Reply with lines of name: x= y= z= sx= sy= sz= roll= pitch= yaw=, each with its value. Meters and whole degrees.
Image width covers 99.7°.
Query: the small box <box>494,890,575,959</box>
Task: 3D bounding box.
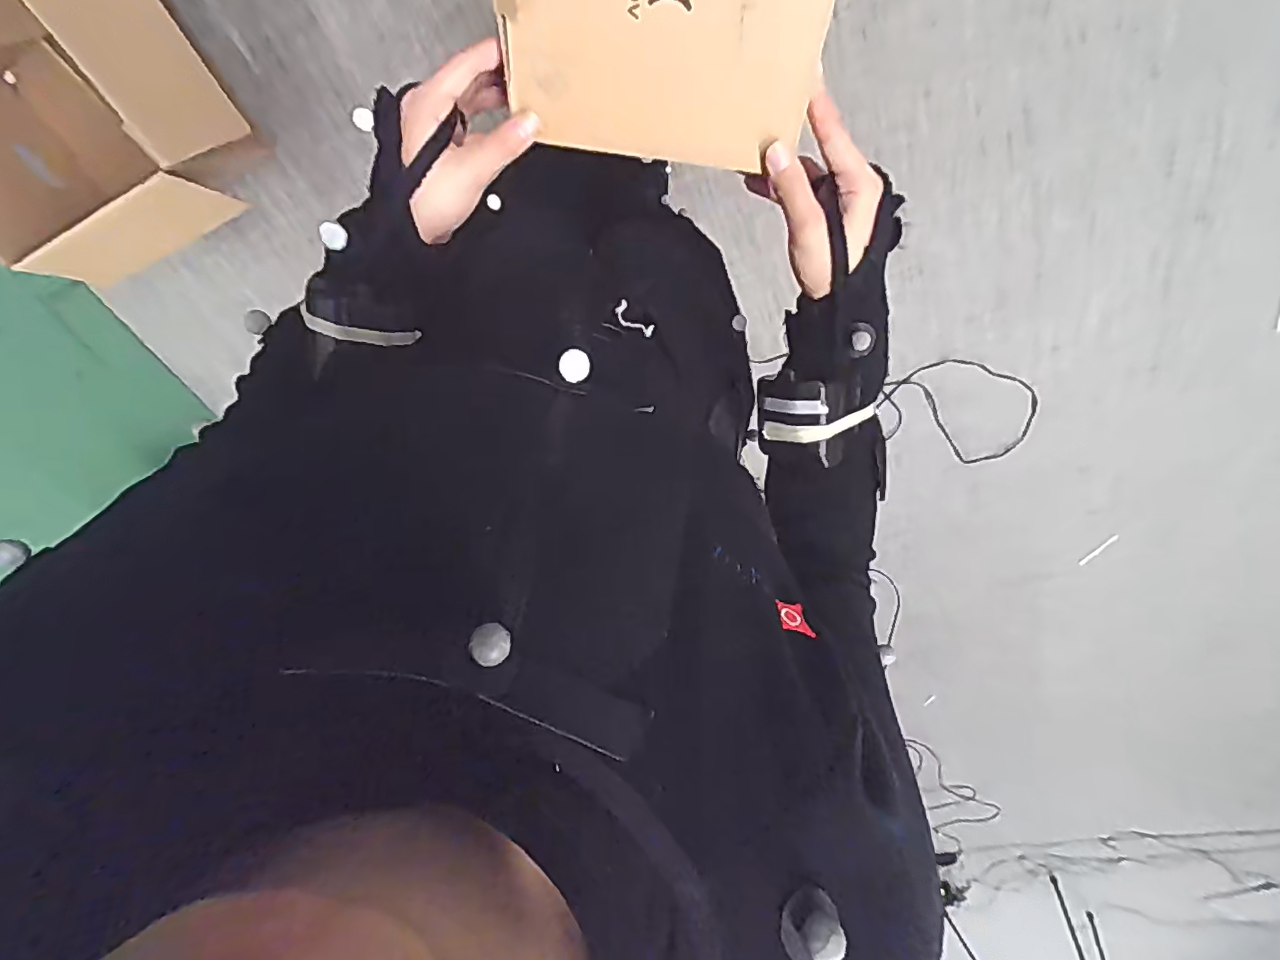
small box: x=-0.298 y=1.321 z=1.575 sx=0.179 sy=0.176 sz=0.168 roll=-15 pitch=126 yaw=15
